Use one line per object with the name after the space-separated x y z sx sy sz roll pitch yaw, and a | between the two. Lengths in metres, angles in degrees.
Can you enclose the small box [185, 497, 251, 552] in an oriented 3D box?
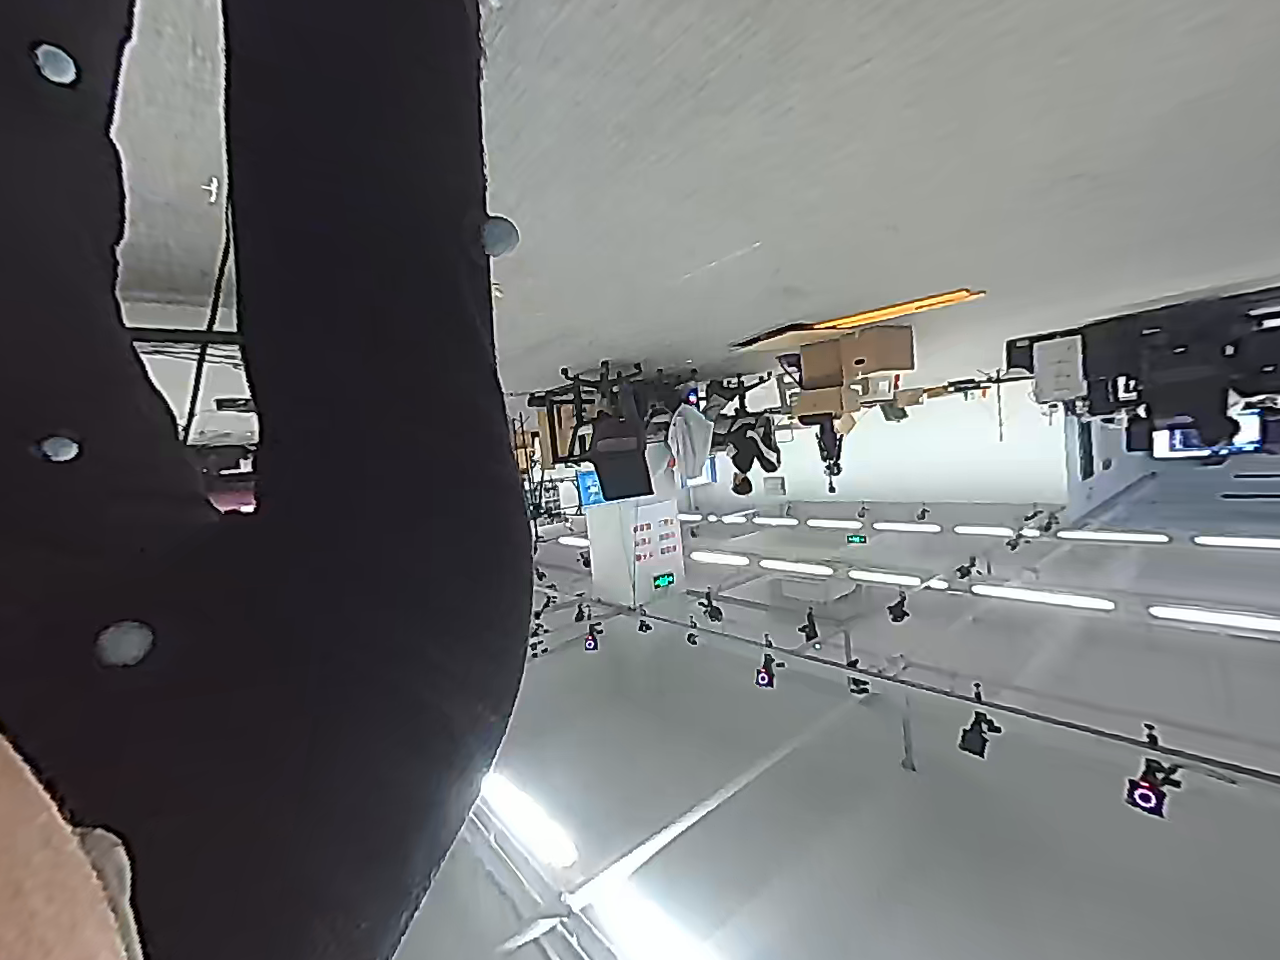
-1.485 0.152 1.904 0.168 0.176 0.179 -8 -177 -37 | small box
